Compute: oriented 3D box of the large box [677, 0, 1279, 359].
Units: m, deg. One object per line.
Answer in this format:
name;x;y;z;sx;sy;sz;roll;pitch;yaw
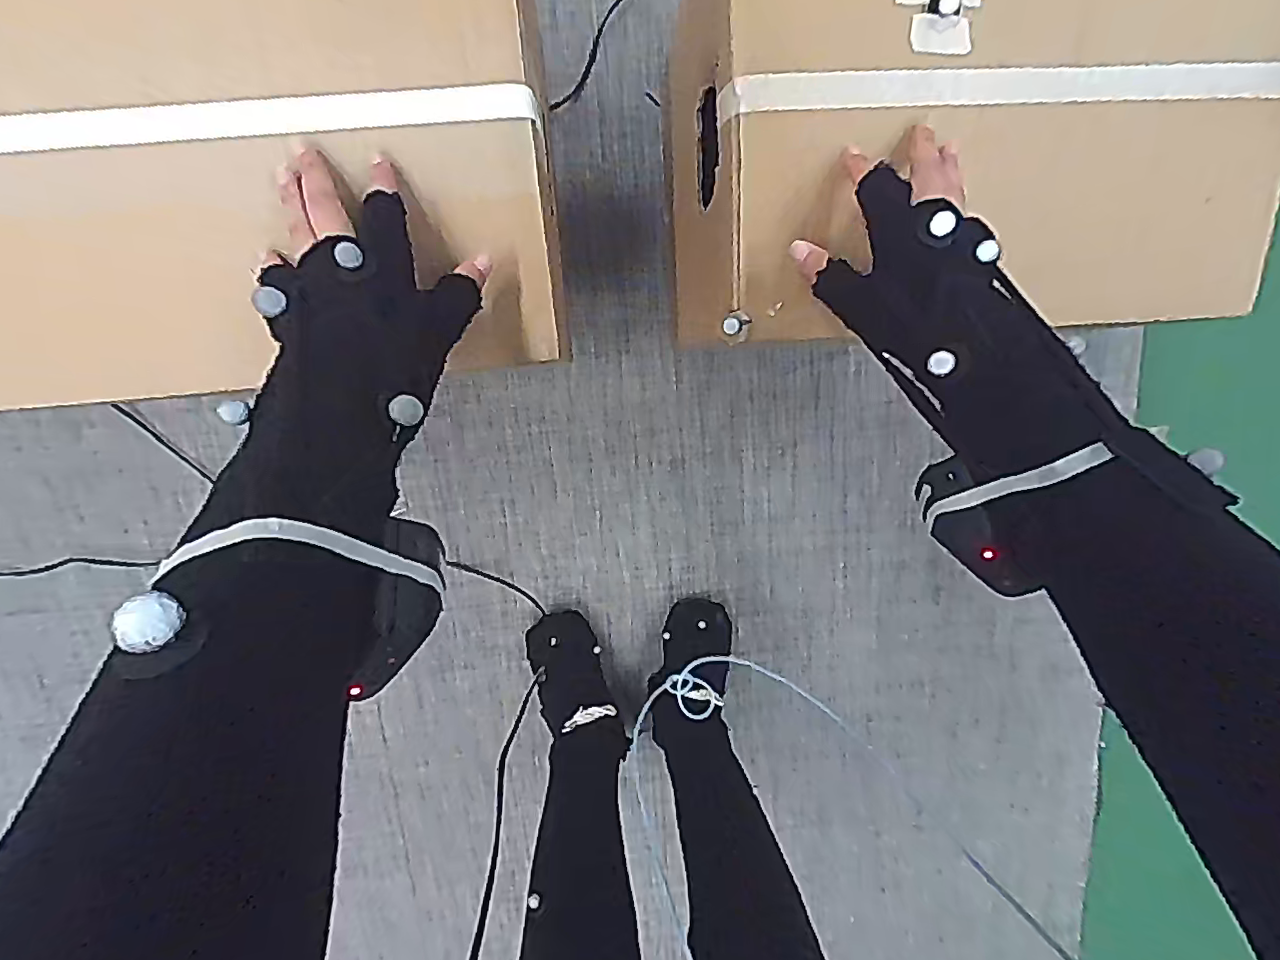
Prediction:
large box;0.259;-0.290;0.543;0.408;0.320;0.320;-3;102;-4
